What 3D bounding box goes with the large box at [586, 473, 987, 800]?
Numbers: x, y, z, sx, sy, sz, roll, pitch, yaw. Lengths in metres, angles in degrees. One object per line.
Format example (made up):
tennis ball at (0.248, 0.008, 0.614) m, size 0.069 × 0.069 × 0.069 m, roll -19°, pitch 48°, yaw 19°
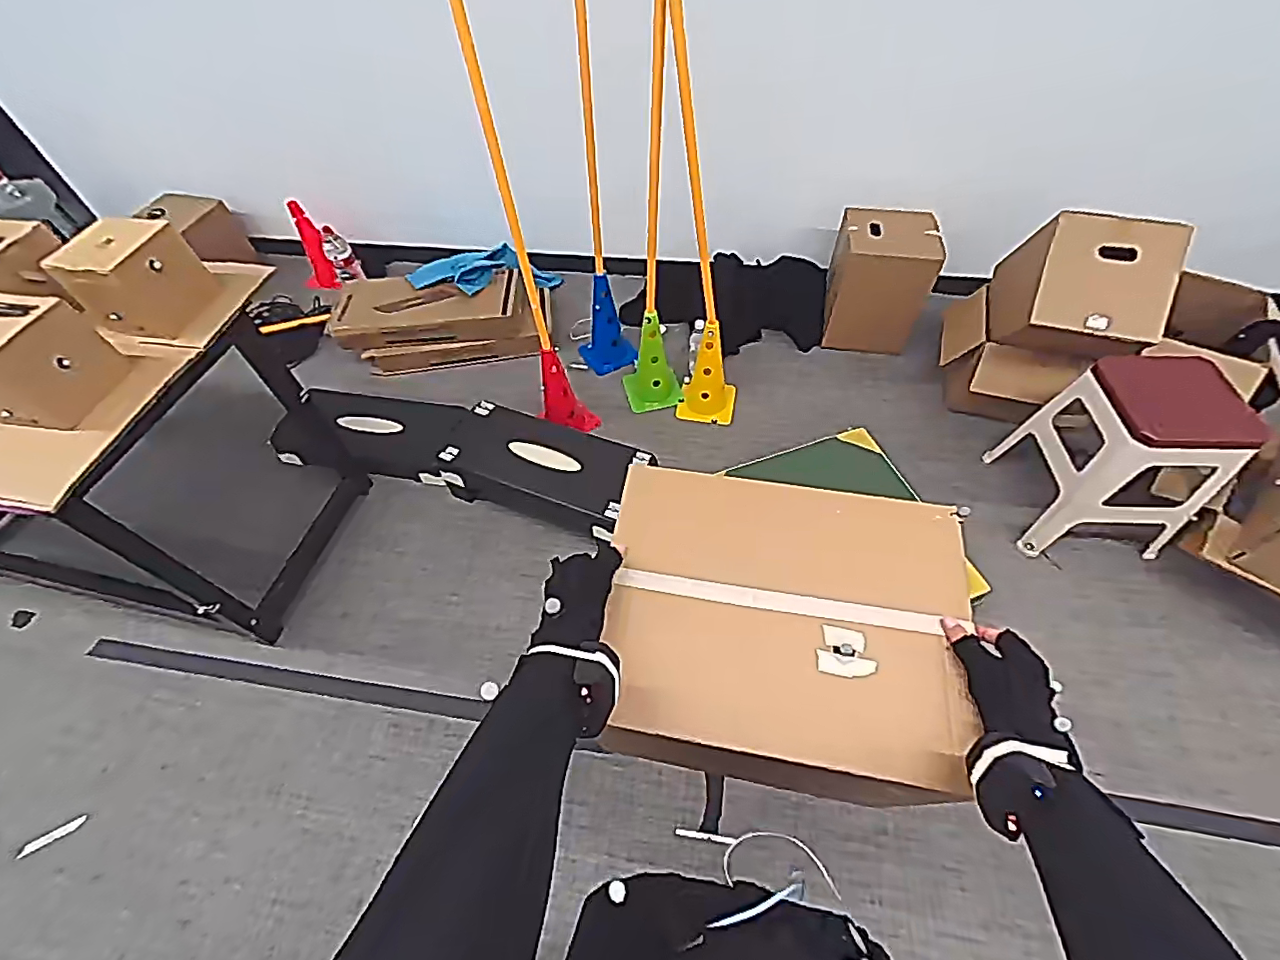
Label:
large box at (0.167, 0.220, 0.739) m, size 0.408 × 0.320 × 0.320 m, roll 8°, pitch 60°, yaw 8°
